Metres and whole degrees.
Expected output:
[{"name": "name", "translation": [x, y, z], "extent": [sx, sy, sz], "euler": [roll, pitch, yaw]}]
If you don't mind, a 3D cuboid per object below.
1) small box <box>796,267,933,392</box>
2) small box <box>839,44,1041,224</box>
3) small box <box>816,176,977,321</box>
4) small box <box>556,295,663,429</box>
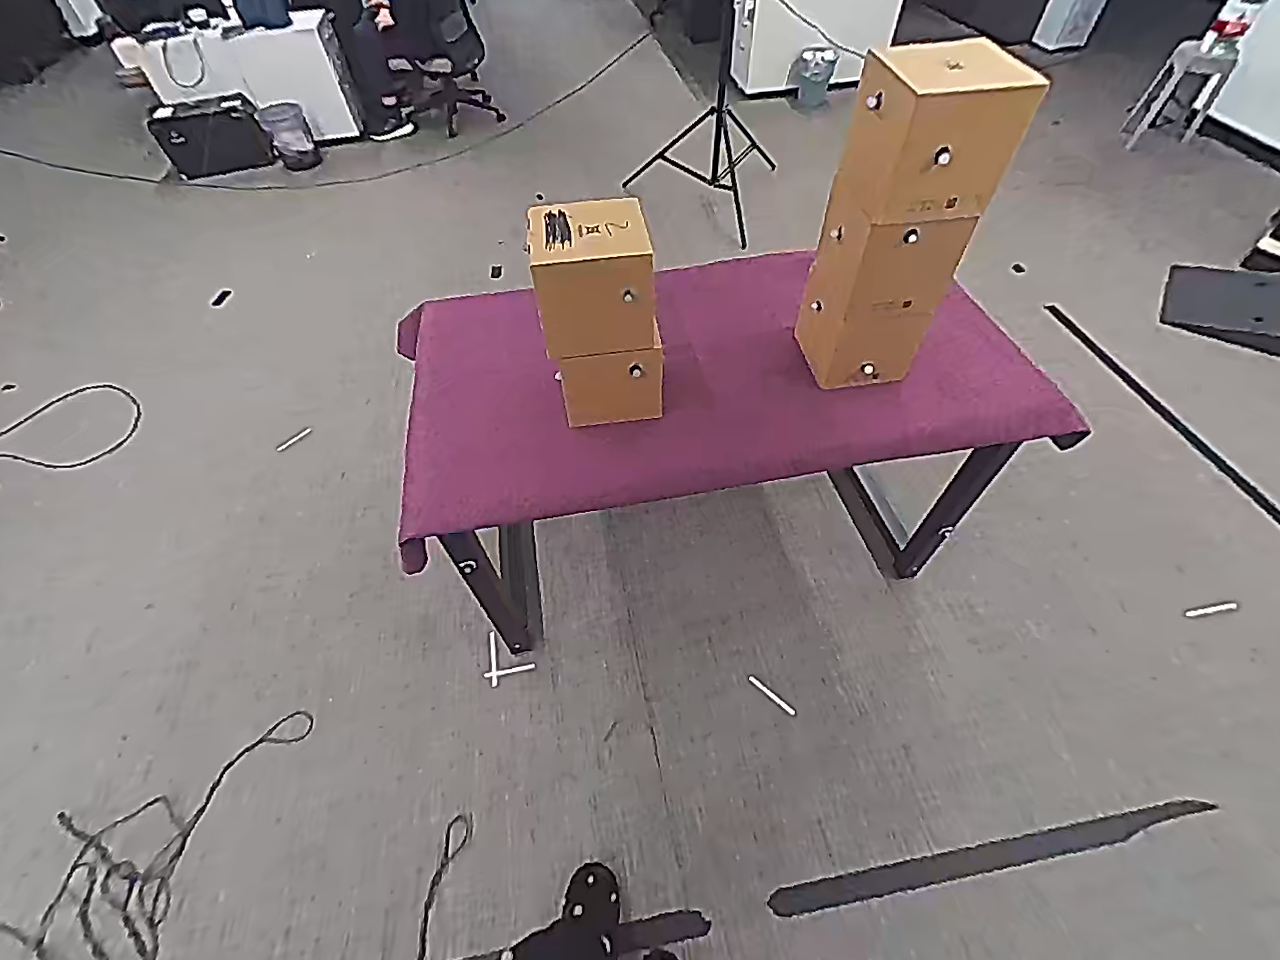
[{"name": "small box", "translation": [0.414, -0.294, 1.036], "extent": [0.168, 0.176, 0.179], "euler": [-8, 53, -3]}, {"name": "small box", "translation": [0.405, -0.482, 0.768], "extent": [0.168, 0.176, 0.179], "euler": [-6, 53, -2]}, {"name": "small box", "translation": [0.409, -0.389, 0.902], "extent": [0.168, 0.176, 0.179], "euler": [-6, 52, -1]}, {"name": "small box", "translation": [-0.055, -0.213, 0.993], "extent": [0.179, 0.176, 0.168], "euler": [-7, 52, -3]}]
